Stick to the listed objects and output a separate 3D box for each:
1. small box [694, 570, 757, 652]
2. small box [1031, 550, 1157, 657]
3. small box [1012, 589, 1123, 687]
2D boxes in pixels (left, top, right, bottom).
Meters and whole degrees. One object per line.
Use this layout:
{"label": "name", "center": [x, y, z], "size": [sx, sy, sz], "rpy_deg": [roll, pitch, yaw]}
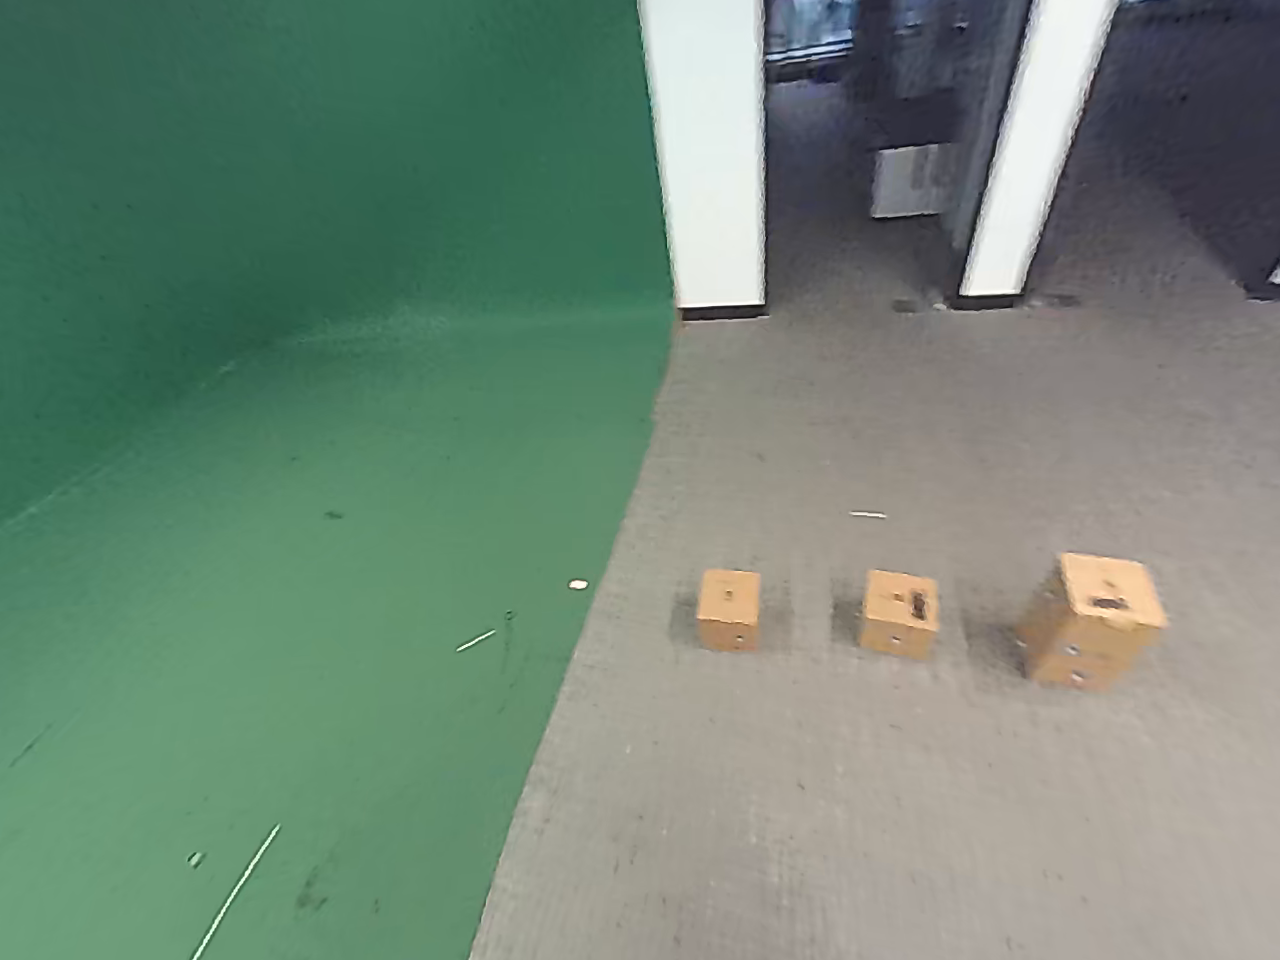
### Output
{"label": "small box", "center": [0.262, 0.393, 1.613], "size": [0.168, 0.176, 0.179], "rpy_deg": [2, 44, 14]}
{"label": "small box", "center": [1.061, 0.293, 1.281], "size": [0.168, 0.176, 0.179], "rpy_deg": [6, 45, 19]}
{"label": "small box", "center": [1.090, 0.409, 1.396], "size": [0.168, 0.176, 0.179], "rpy_deg": [5, 46, 17]}
